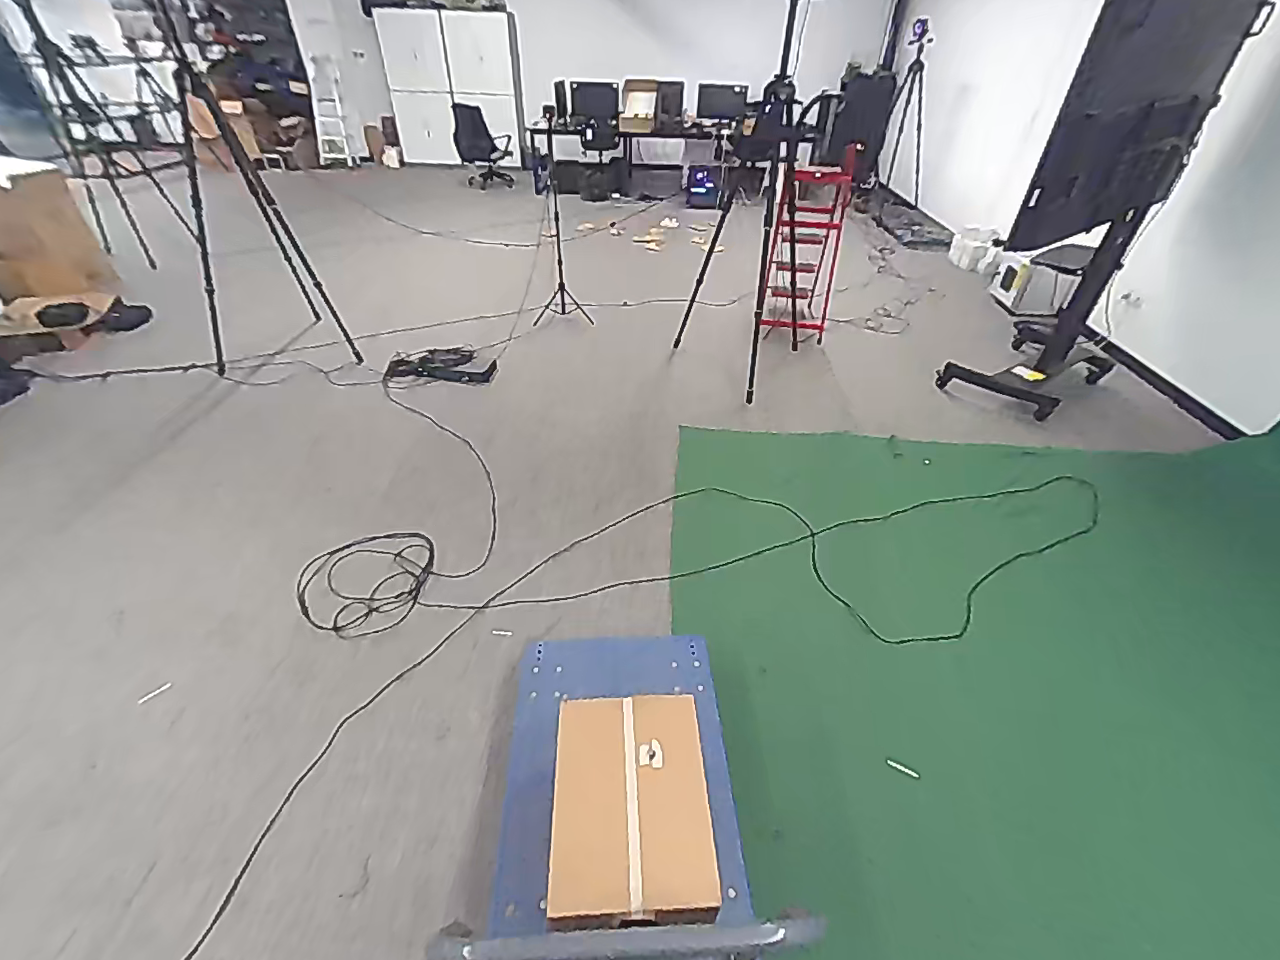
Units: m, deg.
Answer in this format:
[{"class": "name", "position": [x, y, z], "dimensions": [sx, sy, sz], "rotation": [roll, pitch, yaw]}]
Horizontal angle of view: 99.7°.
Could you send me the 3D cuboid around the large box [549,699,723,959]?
[{"class": "large box", "position": [-0.020, 0.758, 1.190], "dimensions": [0.320, 0.320, 0.408], "rotation": [-1, 38, -4]}]
